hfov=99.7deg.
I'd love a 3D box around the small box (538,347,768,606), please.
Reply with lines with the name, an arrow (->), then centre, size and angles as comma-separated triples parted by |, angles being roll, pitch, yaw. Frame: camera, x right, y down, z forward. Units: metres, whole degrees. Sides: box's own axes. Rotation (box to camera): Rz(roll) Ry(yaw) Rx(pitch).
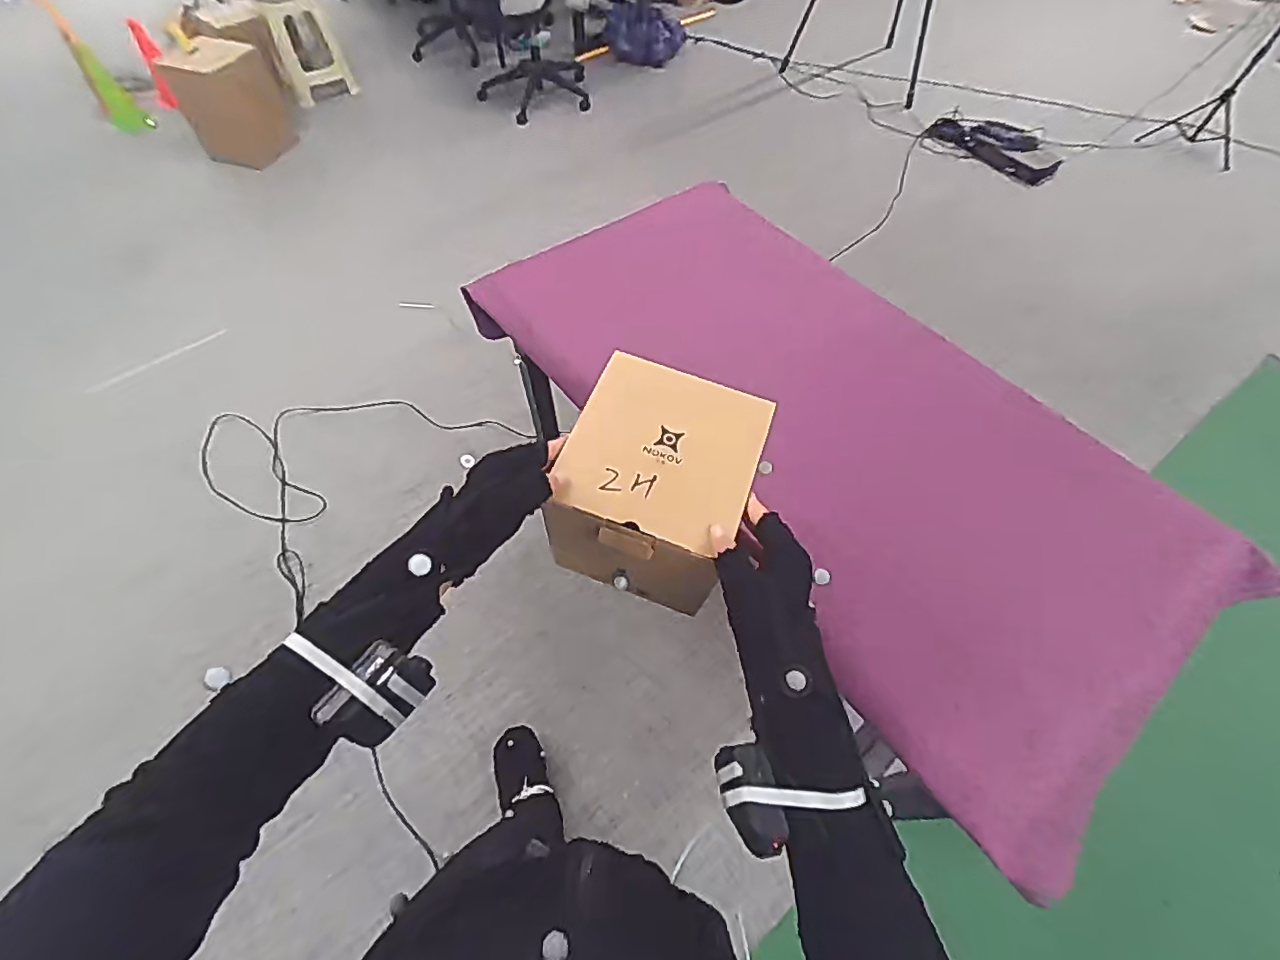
small box -> 0.011, 0.003, 0.556 | 0.168, 0.176, 0.179 | 21, 62, 7
